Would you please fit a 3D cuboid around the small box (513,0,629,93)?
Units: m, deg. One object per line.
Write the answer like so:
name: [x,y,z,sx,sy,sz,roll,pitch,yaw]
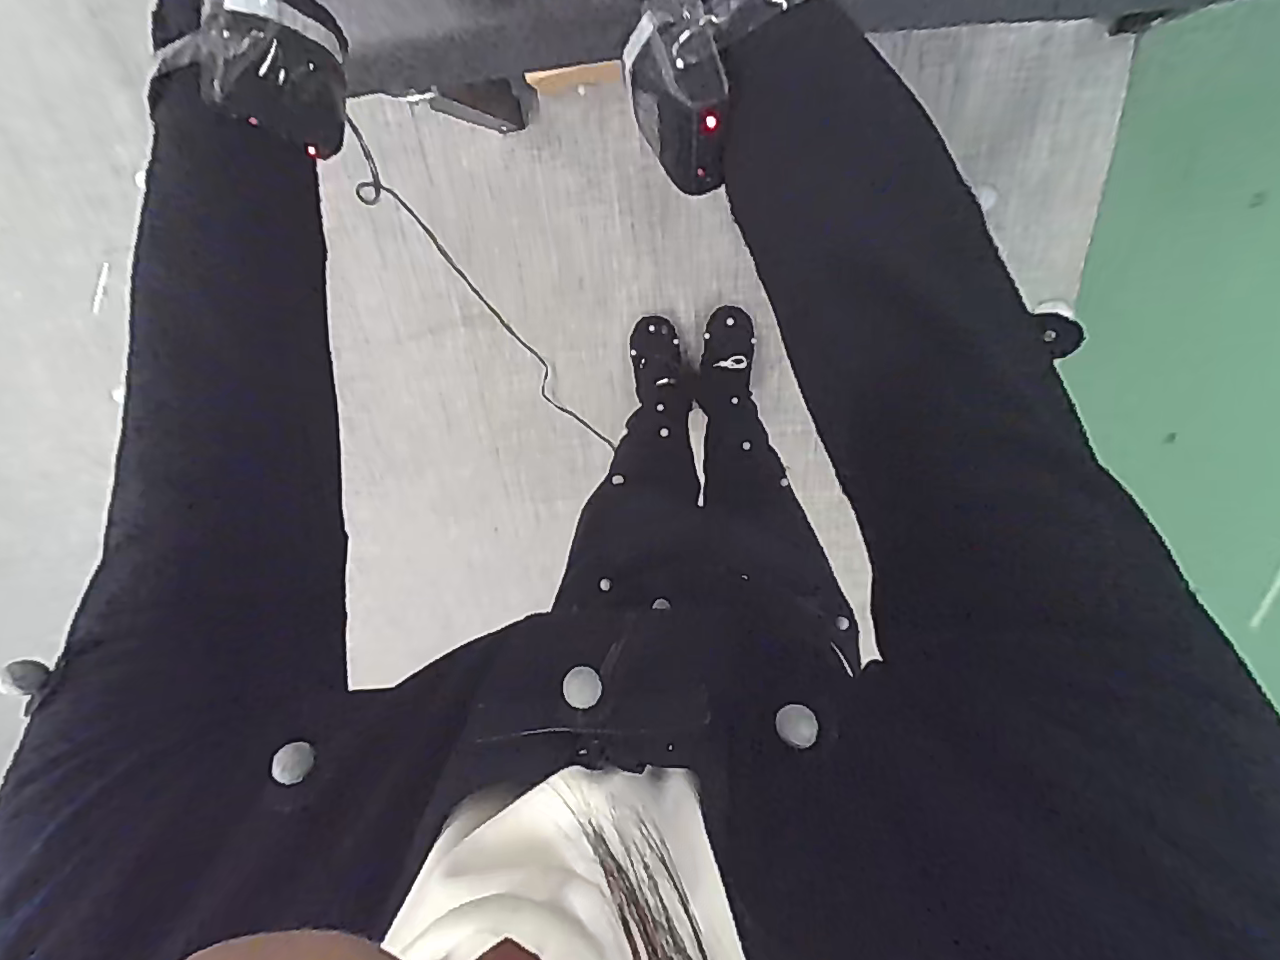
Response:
small box: [-0.118,-0.807,0.940,0.168,0.176,0.179,-7,118,9]
